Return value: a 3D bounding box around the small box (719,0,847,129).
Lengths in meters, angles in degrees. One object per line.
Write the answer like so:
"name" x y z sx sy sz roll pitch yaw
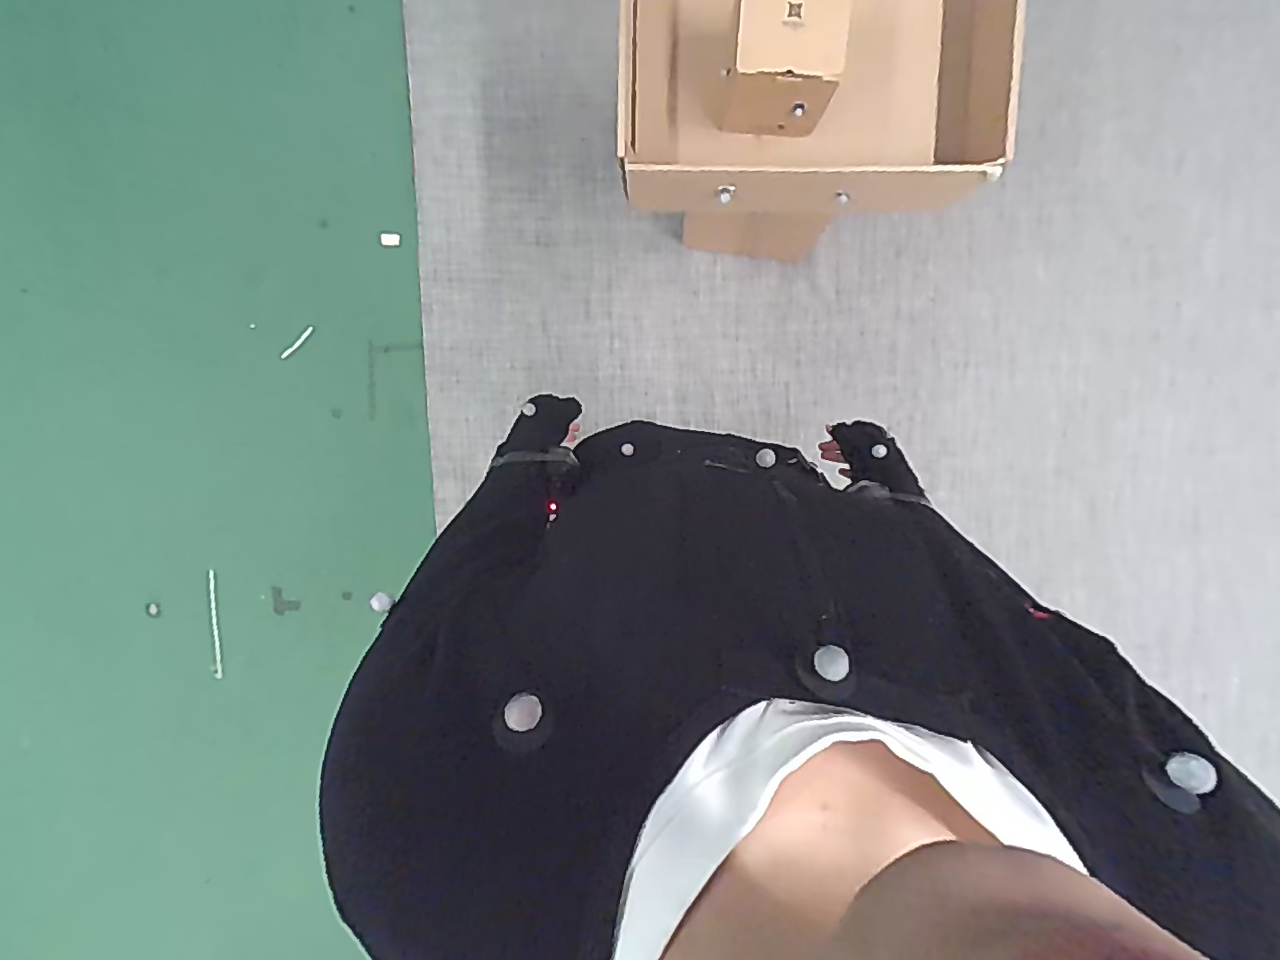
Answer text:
"small box" 0.225 -0.707 0.880 0.168 0.176 0.179 3 94 -1
